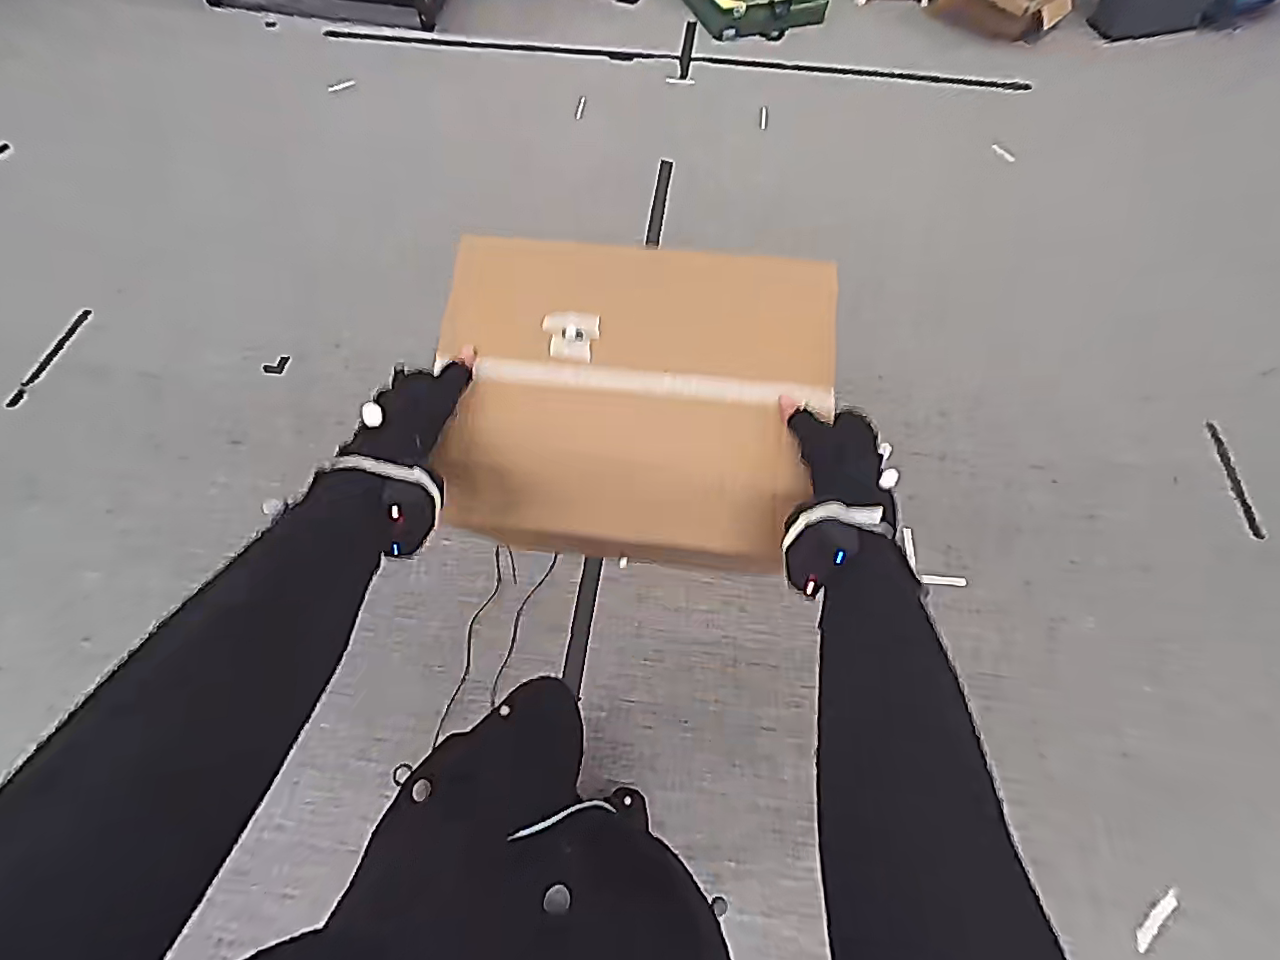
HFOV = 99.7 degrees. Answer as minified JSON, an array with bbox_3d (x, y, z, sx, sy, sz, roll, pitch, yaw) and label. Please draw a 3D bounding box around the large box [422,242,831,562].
[{"bbox_3d":[0.001,-0.069,0.700,0.408,0.320,0.320,6,77,4],"label":"large box"}]
